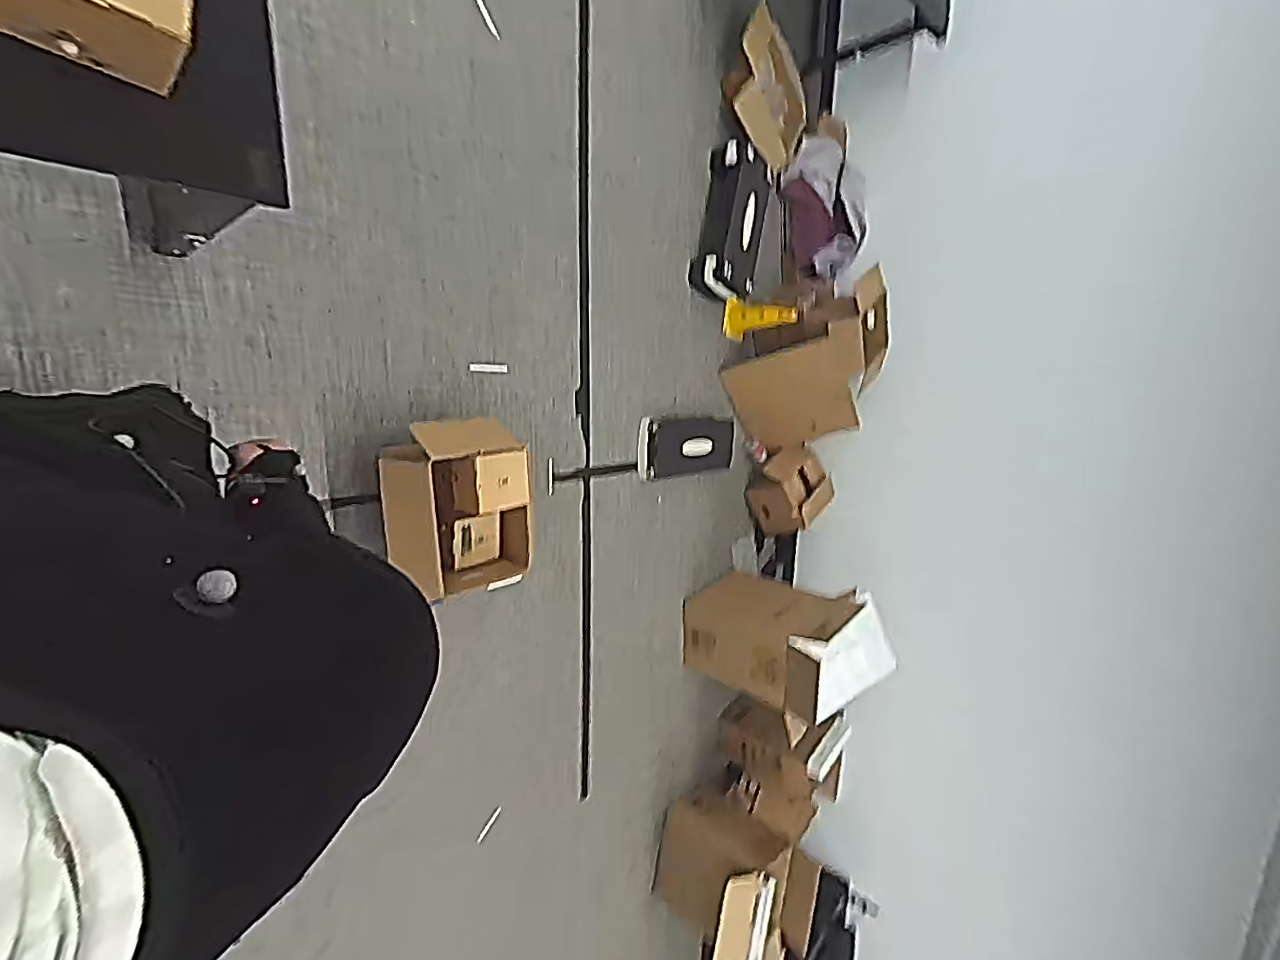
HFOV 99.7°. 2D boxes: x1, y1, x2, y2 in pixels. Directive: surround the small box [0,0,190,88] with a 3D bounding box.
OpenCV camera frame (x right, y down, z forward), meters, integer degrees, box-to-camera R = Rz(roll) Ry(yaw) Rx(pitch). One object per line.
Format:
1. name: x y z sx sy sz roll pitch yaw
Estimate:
1. small box: -0.563 -0.541 0.533 0.168 0.176 0.179 0 99 -48
